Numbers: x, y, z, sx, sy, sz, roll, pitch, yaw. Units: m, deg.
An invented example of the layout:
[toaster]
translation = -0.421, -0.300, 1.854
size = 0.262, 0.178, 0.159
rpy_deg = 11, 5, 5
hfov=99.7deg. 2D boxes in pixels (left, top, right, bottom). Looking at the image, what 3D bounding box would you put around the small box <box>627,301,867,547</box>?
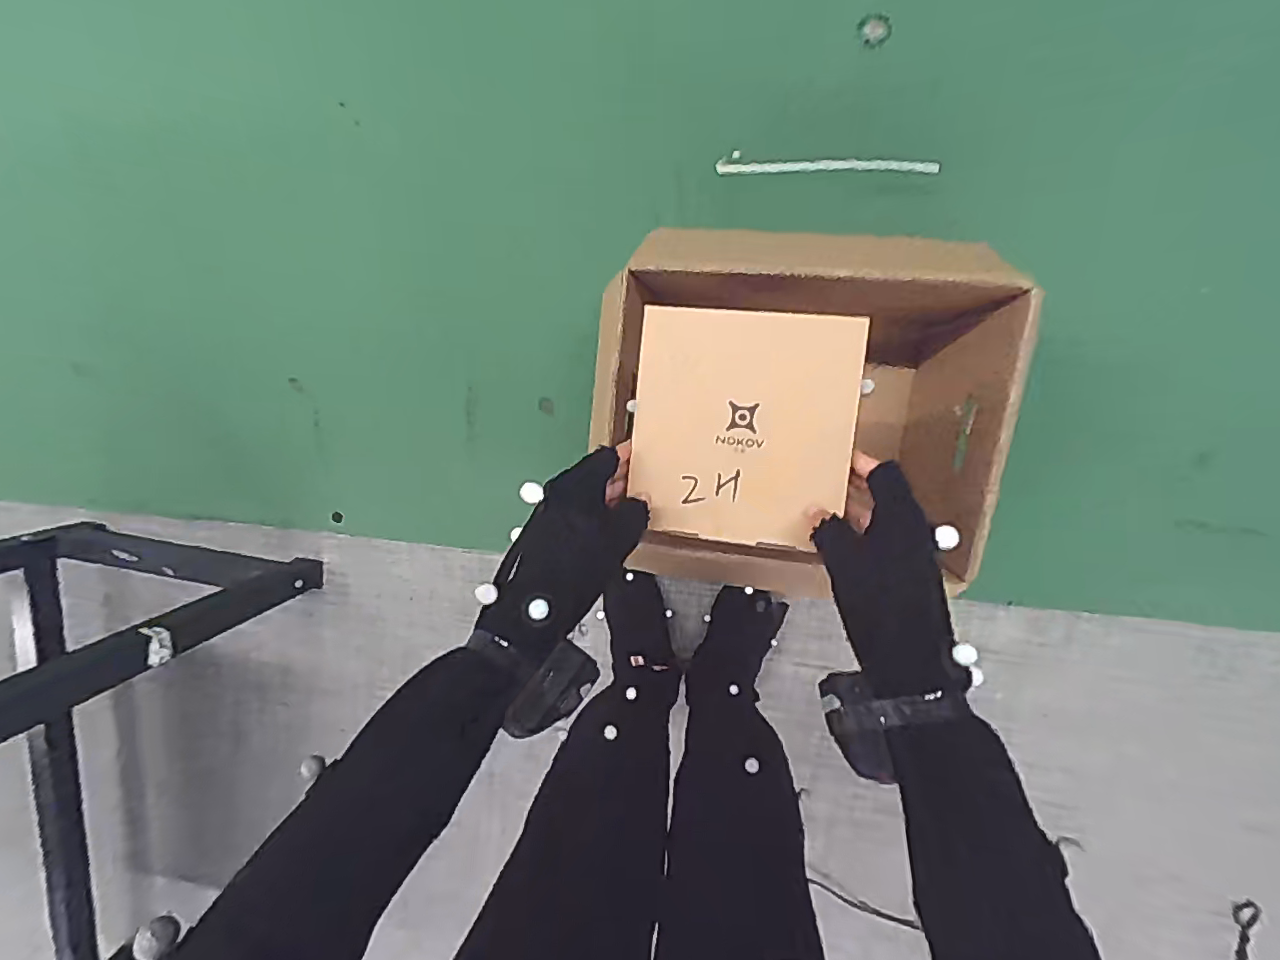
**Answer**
[small box]
translation = 0.092, -0.050, 0.491
size = 0.168, 0.176, 0.179
rpy_deg = 6, 96, 11
